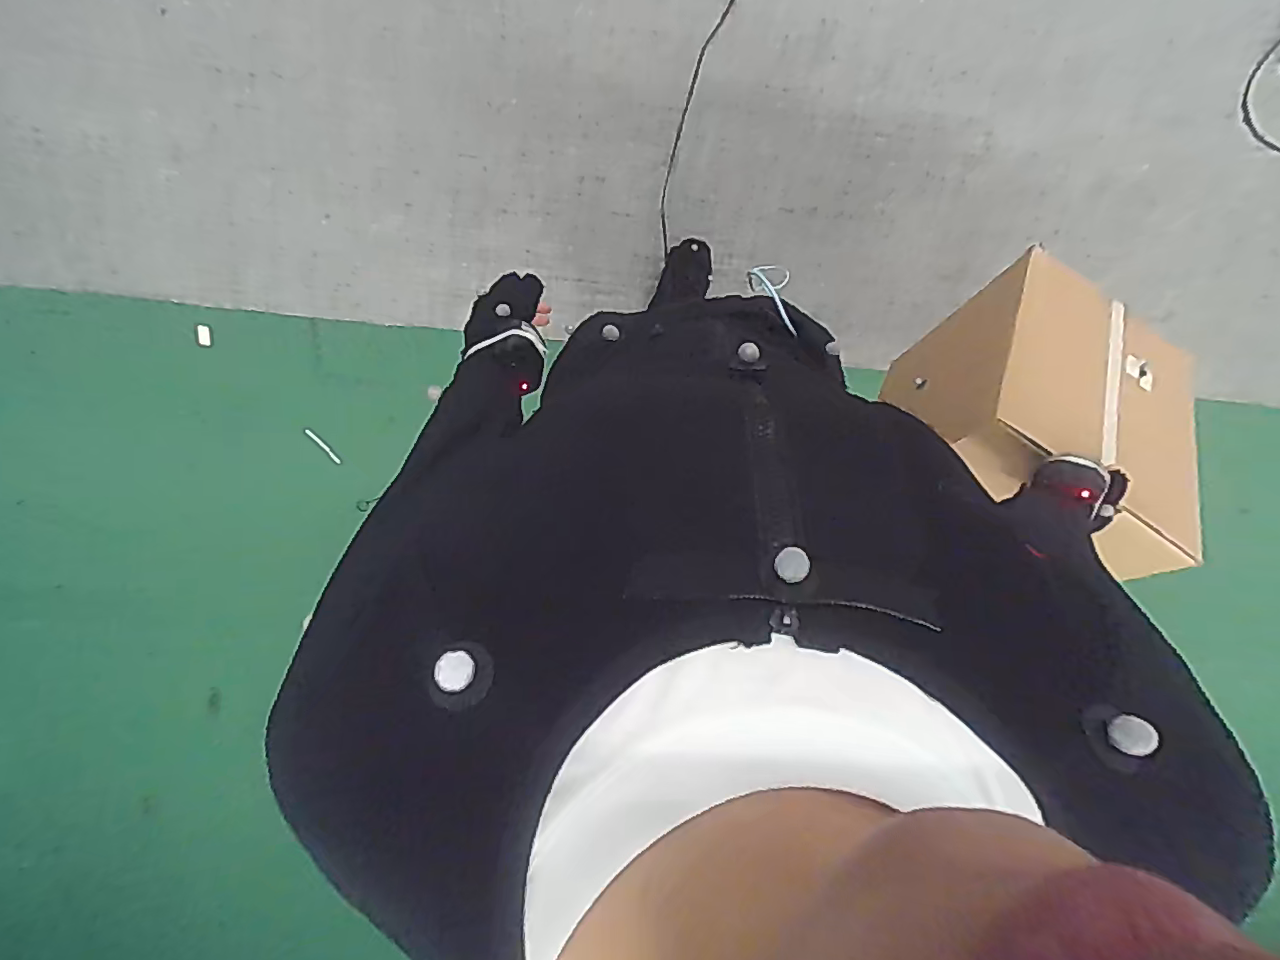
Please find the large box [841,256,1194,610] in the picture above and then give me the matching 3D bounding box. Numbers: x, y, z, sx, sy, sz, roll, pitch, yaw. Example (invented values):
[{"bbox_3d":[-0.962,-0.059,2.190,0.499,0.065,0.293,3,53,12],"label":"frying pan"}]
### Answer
[{"bbox_3d":[0.587,-0.062,0.876,0.320,0.408,0.320,35,149,-3],"label":"large box"}]
